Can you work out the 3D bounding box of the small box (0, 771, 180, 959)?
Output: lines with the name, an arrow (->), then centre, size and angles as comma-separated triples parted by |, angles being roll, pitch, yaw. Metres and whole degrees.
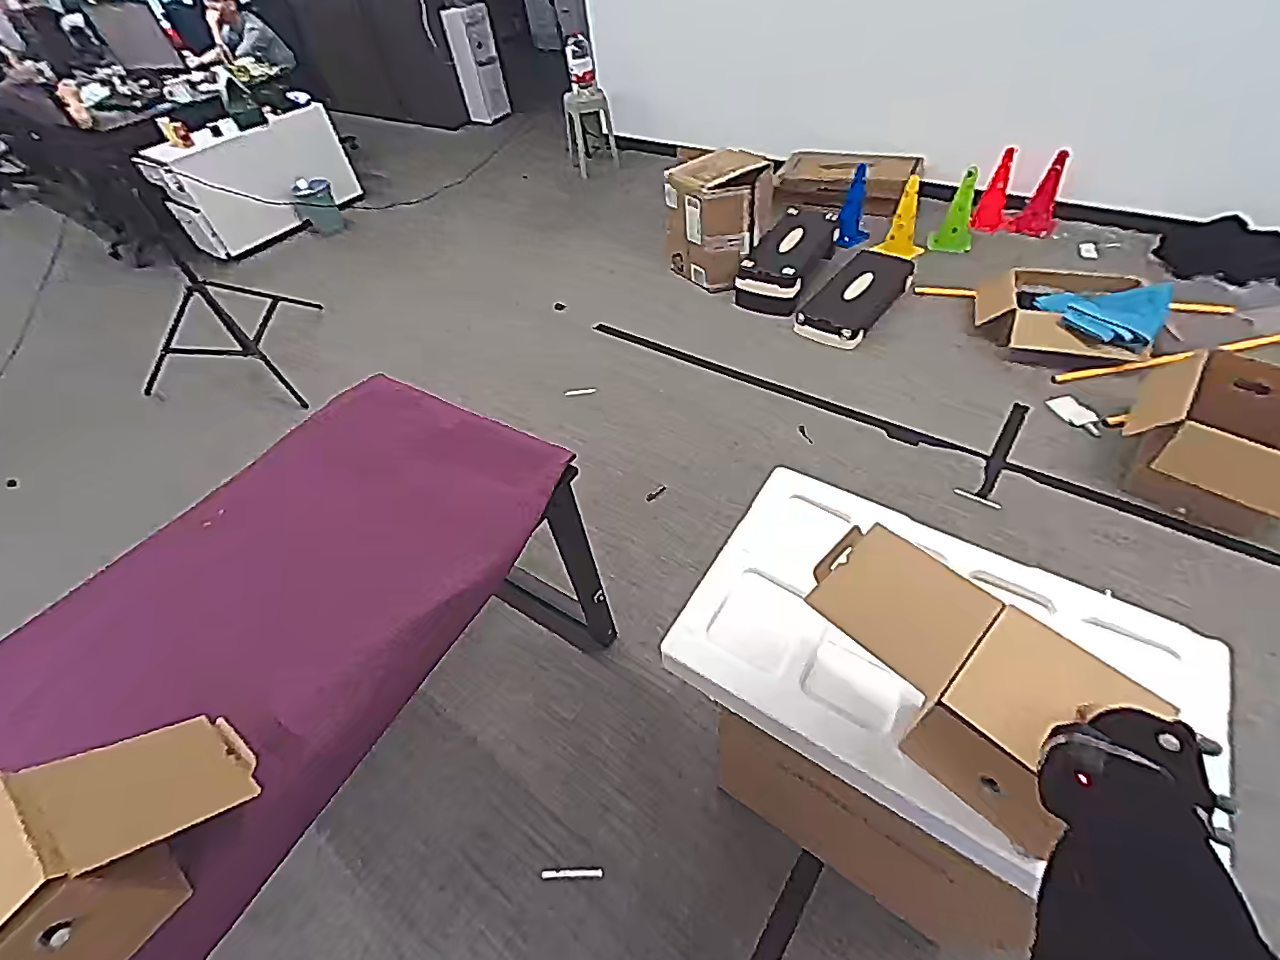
small box -> -0.651, 0.459, 0.579 | 0.168, 0.176, 0.179 | 26, 57, 27
